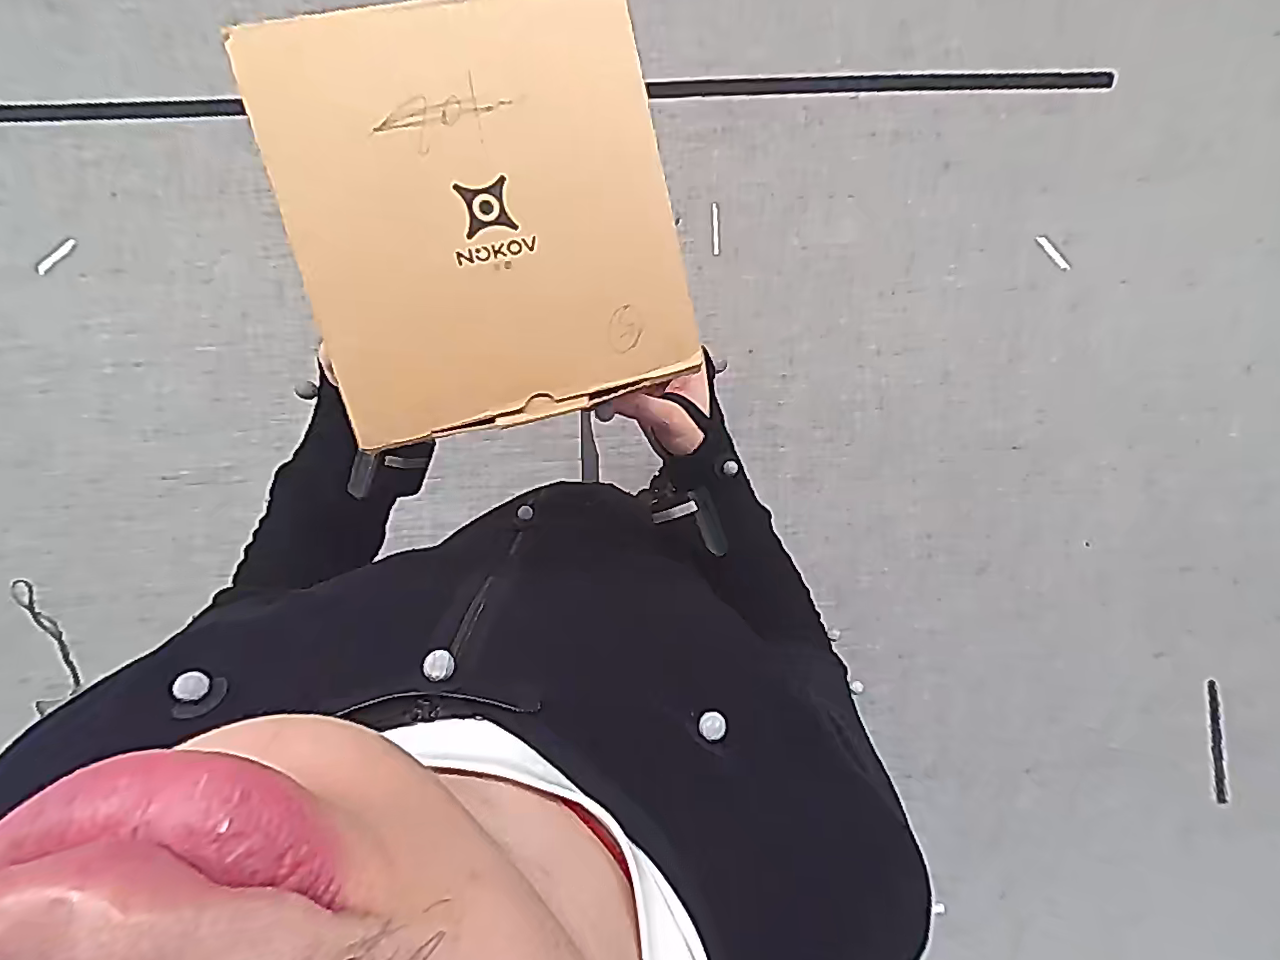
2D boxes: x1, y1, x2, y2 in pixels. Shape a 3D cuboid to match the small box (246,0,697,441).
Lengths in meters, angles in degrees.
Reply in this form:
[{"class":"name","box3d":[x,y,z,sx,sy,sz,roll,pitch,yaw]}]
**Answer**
[{"class":"small box","box3d":[-0.082,-0.131,0.328,0.168,0.176,0.179,-16,99,-9]}]
